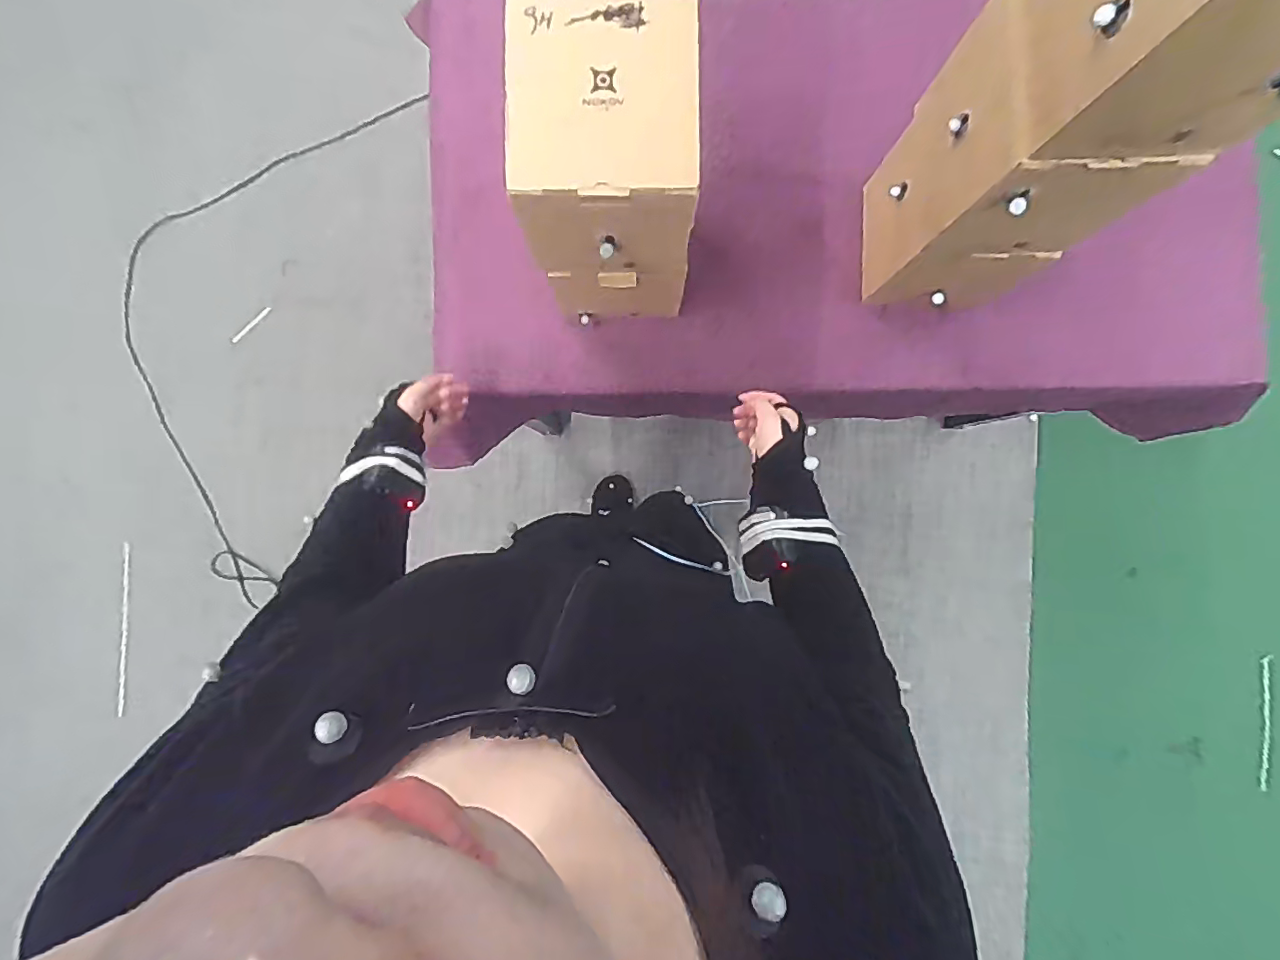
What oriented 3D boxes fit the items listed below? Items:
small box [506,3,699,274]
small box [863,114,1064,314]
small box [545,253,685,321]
[{"bbox_3d":[-0.032,-0.319,0.540,0.168,0.176,0.179,0,90,0],"label":"small box"},{"bbox_3d":[0.405,-0.333,0.704,0.168,0.176,0.179,1,89,0],"label":"small box"},{"bbox_3d":[-0.029,-0.314,0.705,0.168,0.176,0.179,-2,88,0],"label":"small box"}]
